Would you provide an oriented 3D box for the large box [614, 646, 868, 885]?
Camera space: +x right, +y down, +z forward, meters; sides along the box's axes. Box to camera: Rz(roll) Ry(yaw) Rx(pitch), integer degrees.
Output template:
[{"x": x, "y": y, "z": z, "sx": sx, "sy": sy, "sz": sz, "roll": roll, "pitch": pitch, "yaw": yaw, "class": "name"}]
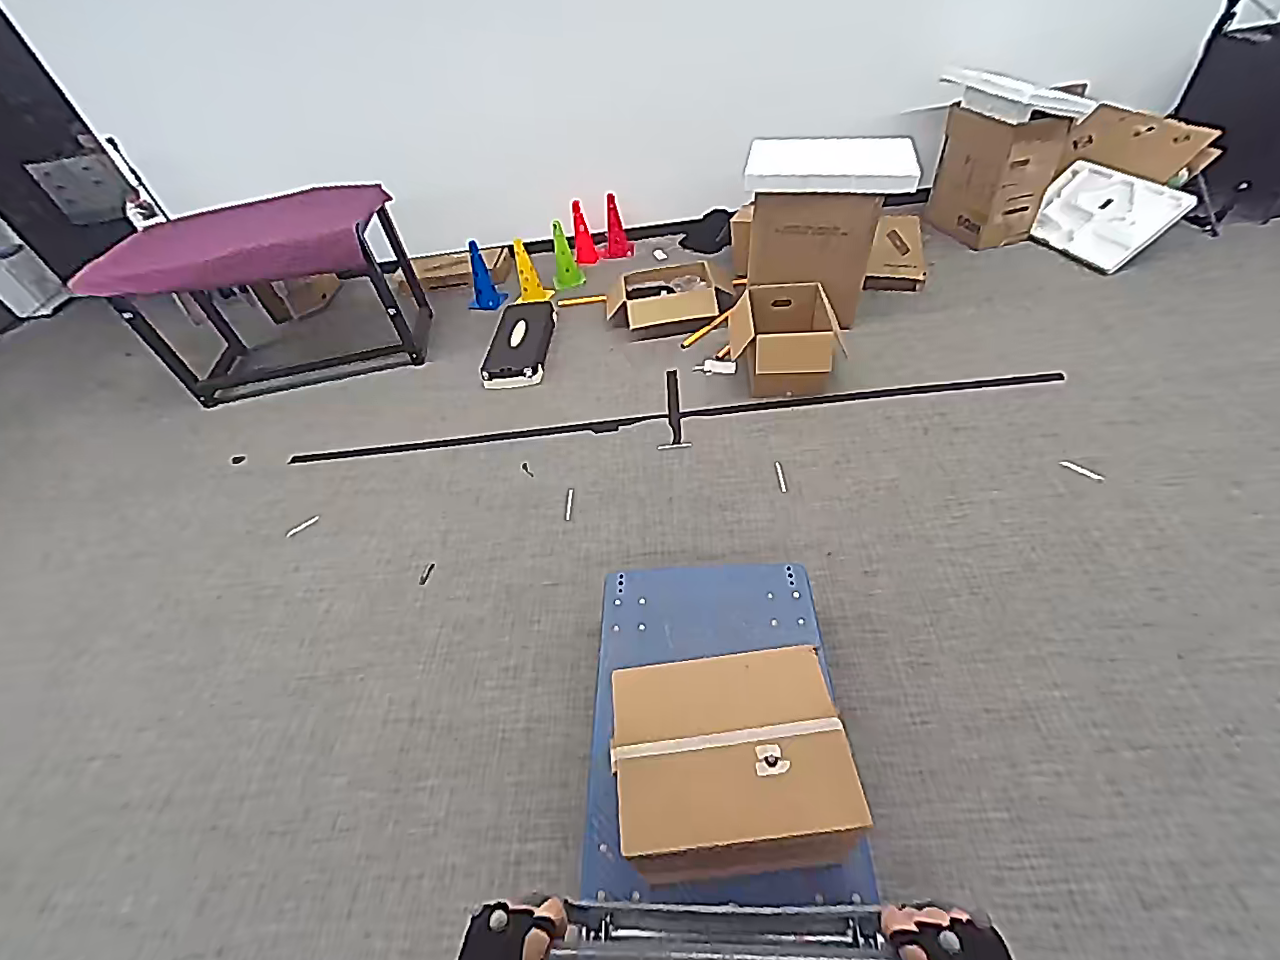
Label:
[{"x": 0.174, "y": 0.573, "z": 1.081, "sx": 0.408, "sy": 0.320, "sz": 0.320, "roll": -8, "pitch": 46, "yaw": 0, "class": "large box"}]
